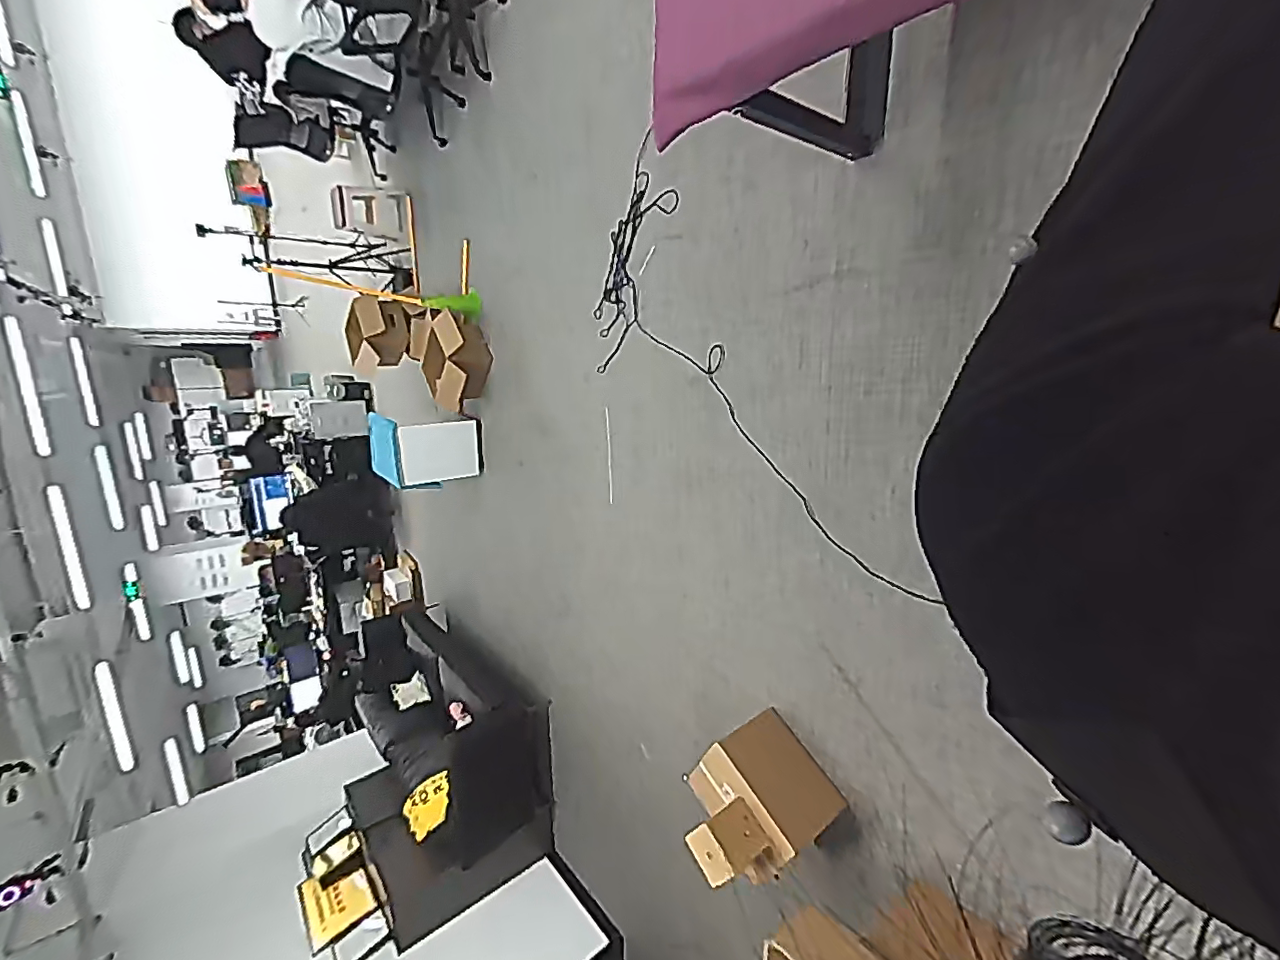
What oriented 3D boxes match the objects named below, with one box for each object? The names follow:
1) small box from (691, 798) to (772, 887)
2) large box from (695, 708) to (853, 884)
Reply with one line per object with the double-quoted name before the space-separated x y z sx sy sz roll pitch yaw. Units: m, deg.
"small box" 0.307 1.207 1.806 0.168 0.176 0.179 53 136 31
"large box" 0.476 1.134 1.969 0.408 0.320 0.320 50 134 35
